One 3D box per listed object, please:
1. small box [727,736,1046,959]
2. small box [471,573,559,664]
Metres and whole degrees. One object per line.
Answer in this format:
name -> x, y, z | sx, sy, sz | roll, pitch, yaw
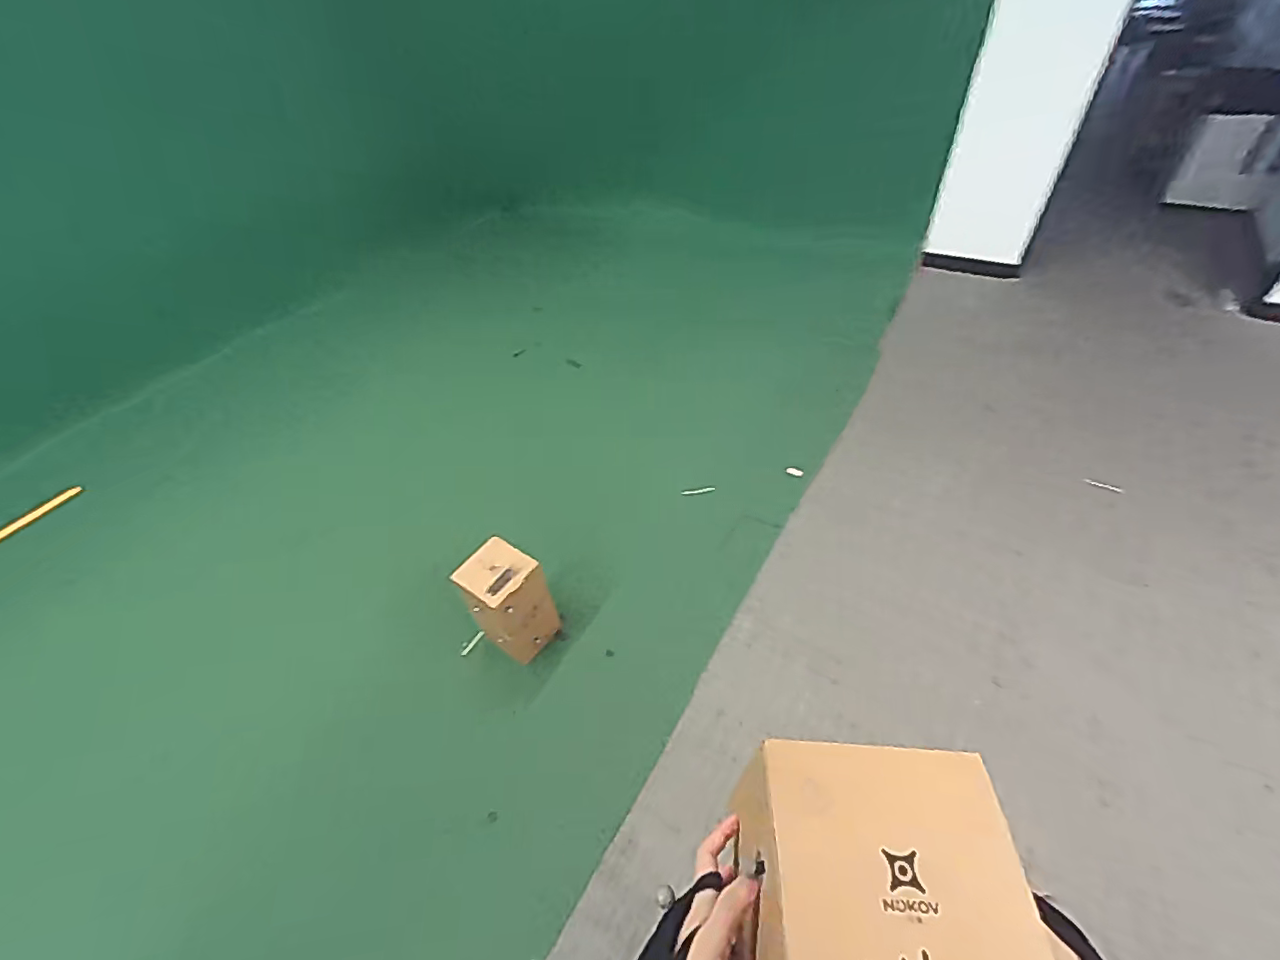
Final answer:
small box -> 0.164, 0.319, 0.412 | 0.168, 0.176, 0.179 | 3, 47, 0
small box -> -0.366, 0.416, 1.610 | 0.179, 0.176, 0.168 | 25, 54, 26
